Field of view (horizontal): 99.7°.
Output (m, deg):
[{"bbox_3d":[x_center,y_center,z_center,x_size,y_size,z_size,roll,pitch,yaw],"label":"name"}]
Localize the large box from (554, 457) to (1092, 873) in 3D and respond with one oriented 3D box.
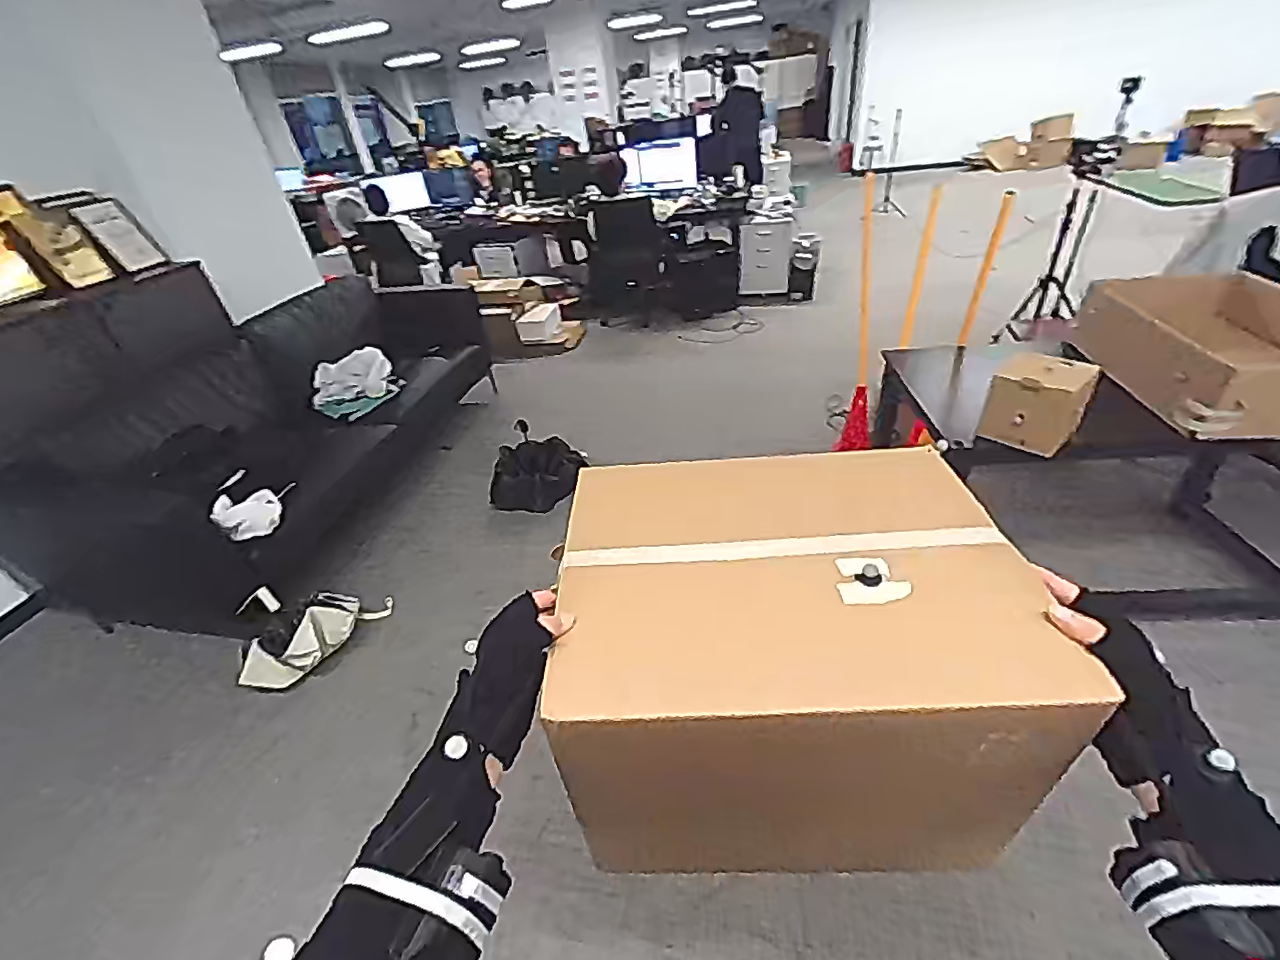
[{"bbox_3d":[0.139,0.196,0.601,0.408,0.320,0.320,-3,37,3],"label":"large box"}]
